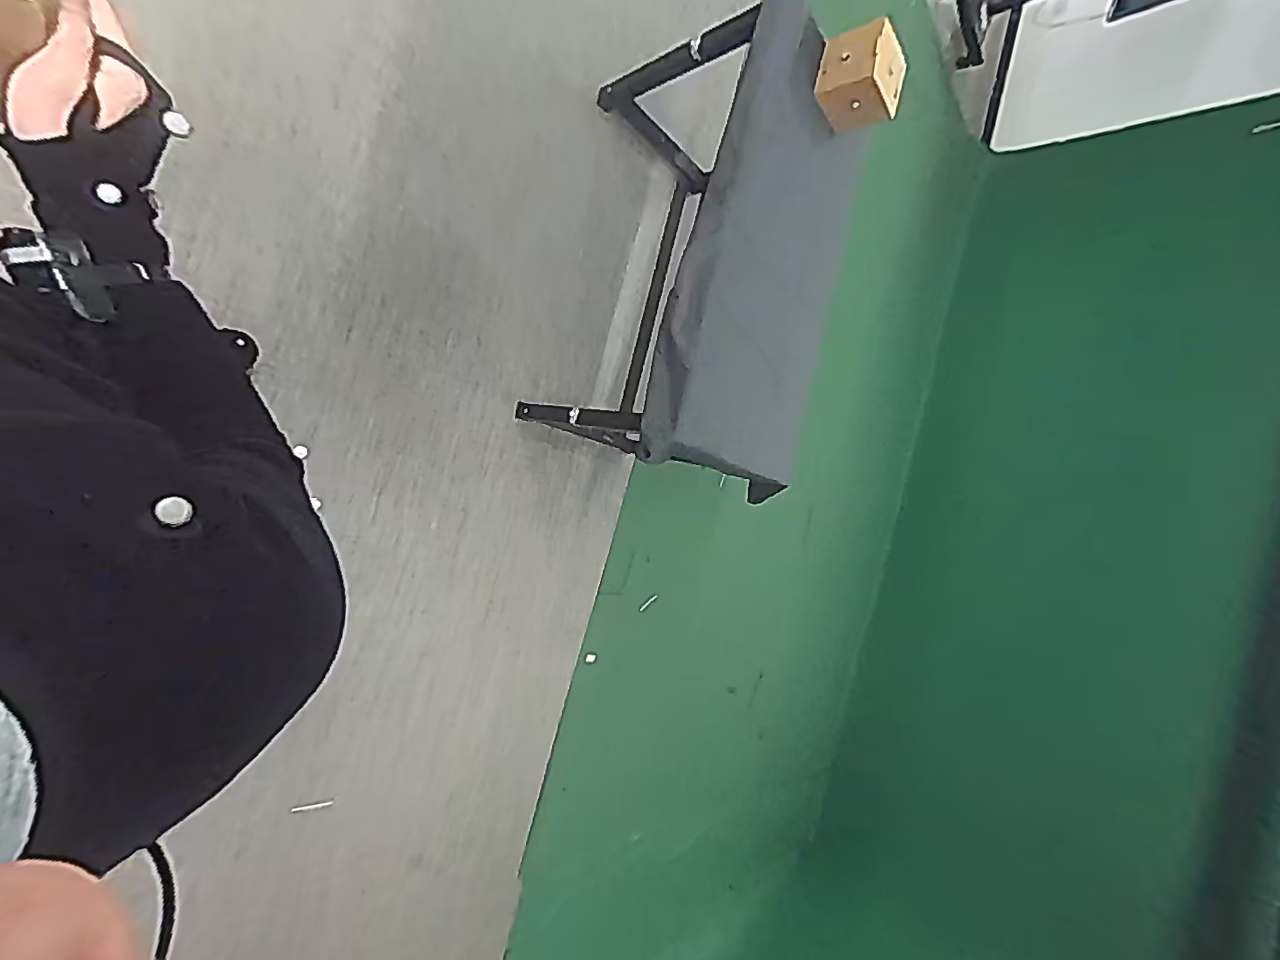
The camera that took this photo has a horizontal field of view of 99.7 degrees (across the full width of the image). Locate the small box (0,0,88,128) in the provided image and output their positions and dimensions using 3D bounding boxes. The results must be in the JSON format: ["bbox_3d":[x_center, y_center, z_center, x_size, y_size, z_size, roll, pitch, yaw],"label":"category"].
[{"bbox_3d":[-0.427,-0.344,0.296,0.168,0.176,0.179,5,86,-42],"label":"small box"}]

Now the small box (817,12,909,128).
[{"bbox_3d":[0.614,-1.119,1.496,0.179,0.176,0.168,16,90,-46],"label":"small box"}]
